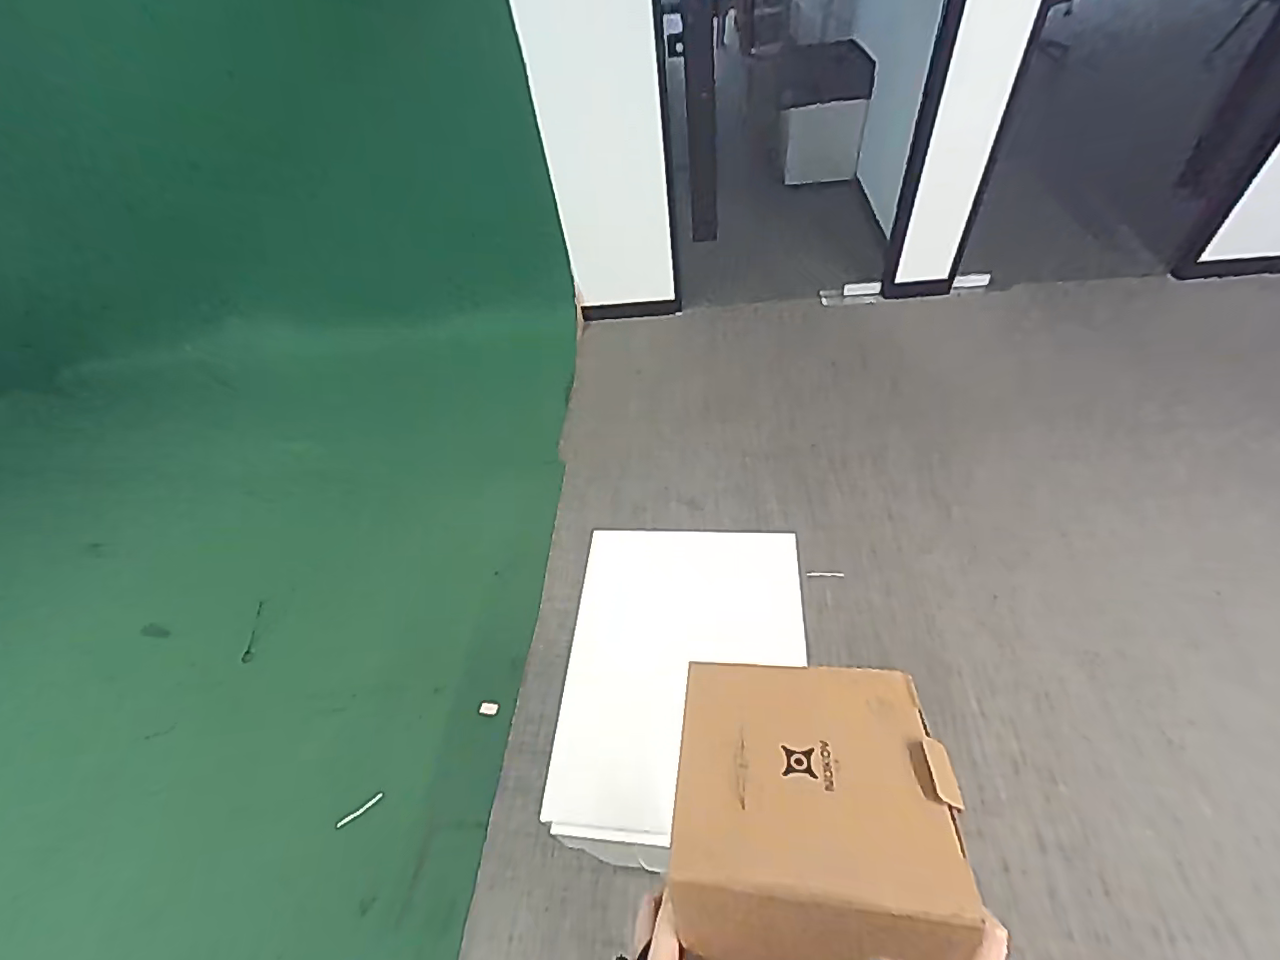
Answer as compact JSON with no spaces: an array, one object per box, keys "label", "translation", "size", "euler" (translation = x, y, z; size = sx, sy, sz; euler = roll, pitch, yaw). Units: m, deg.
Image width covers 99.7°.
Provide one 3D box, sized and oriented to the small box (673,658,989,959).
[{"label":"small box","translation":[0.127,0.261,0.414],"size":[0.179,0.176,0.168],"euler":[-2,30,12]}]
